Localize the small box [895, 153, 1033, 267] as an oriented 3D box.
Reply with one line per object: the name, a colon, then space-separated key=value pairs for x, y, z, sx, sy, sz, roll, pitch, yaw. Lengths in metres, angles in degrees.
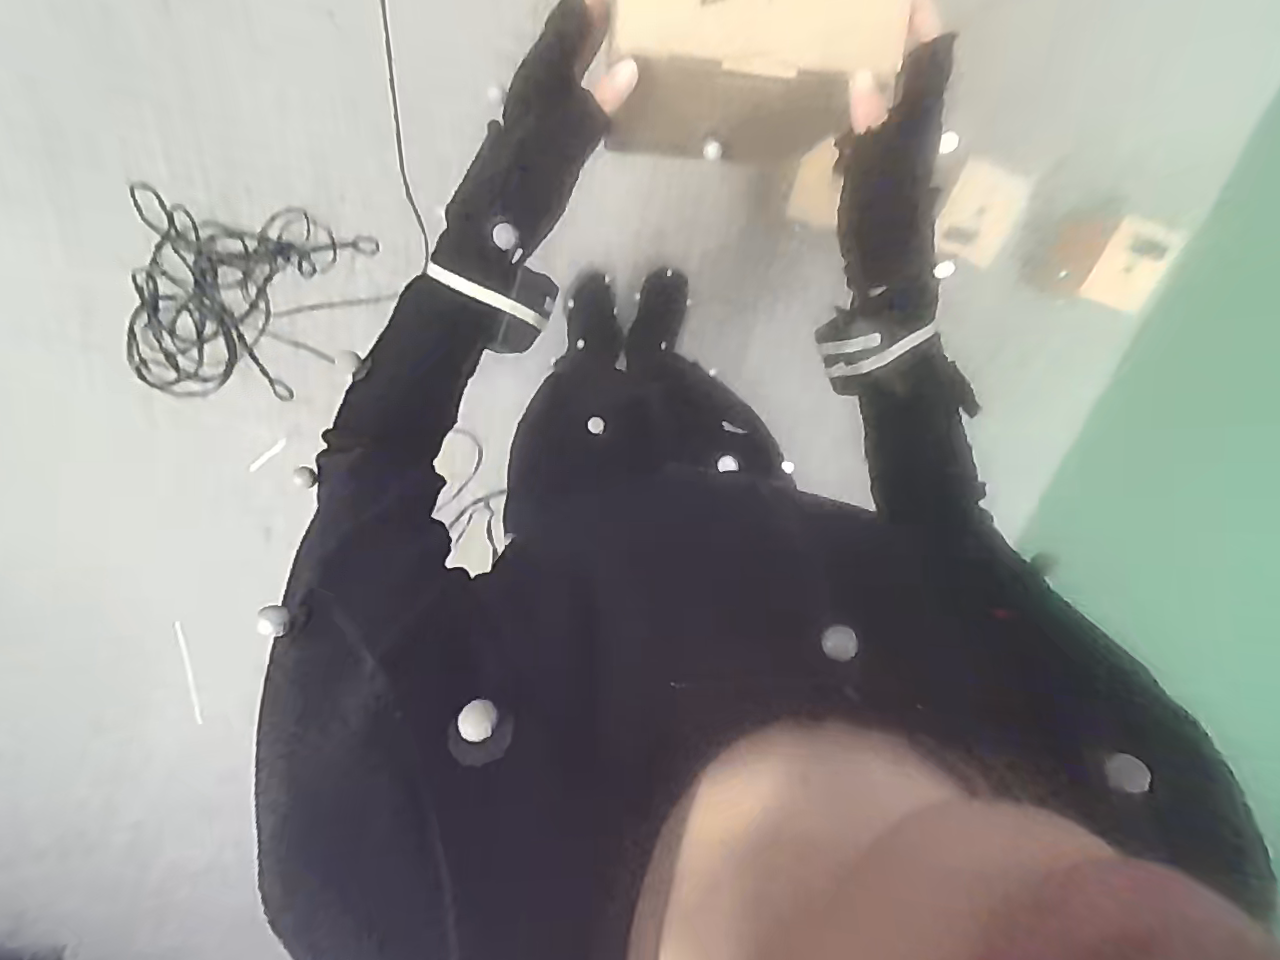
small box: x=0.697 y=-0.589 z=1.192 sx=0.168 sy=0.176 sz=0.179 roll=16 pitch=113 yaw=-10

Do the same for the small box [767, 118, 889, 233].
small box: x=0.388 y=-0.640 z=1.154 sx=0.168 sy=0.176 sz=0.179 roll=10 pitch=115 yaw=-7
